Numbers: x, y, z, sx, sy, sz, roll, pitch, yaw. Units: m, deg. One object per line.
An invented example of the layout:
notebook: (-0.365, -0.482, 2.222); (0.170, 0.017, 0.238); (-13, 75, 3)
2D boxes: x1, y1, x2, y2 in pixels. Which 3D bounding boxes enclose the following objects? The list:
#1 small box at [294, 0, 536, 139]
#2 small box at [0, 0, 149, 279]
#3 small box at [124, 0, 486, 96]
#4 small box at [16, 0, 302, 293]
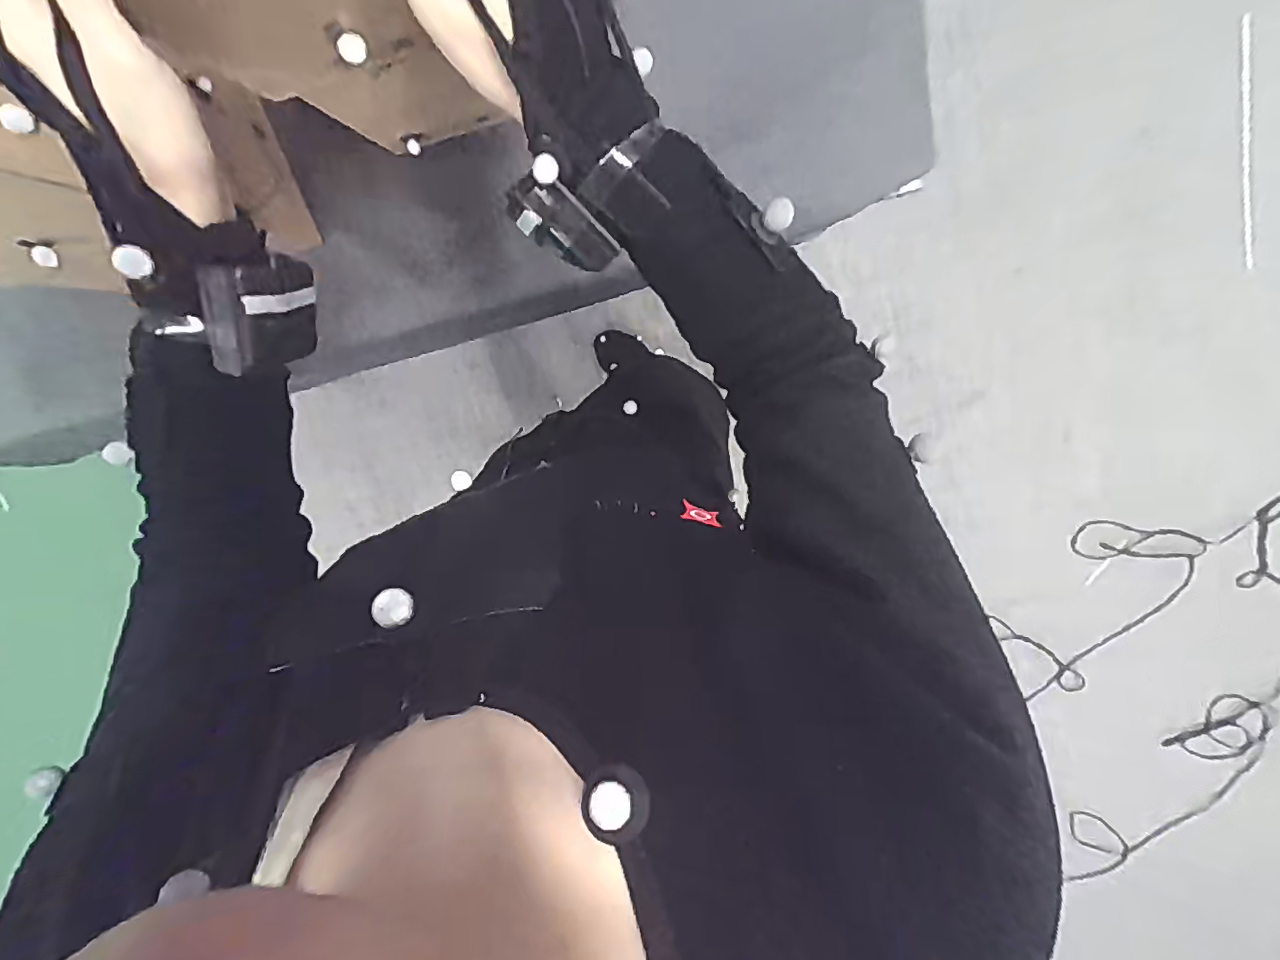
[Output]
small box: (-0.198, -0.407, 0.438); (0.168, 0.176, 0.179); (-12, 104, 7)
small box: (-0.470, -0.240, 0.337); (0.179, 0.176, 0.168); (-18, 103, 8)
small box: (-0.194, -0.327, 0.256); (0.168, 0.176, 0.179); (-15, 110, 4)
small box: (-0.453, -0.283, 0.495); (0.179, 0.176, 0.168); (-17, 102, 9)
